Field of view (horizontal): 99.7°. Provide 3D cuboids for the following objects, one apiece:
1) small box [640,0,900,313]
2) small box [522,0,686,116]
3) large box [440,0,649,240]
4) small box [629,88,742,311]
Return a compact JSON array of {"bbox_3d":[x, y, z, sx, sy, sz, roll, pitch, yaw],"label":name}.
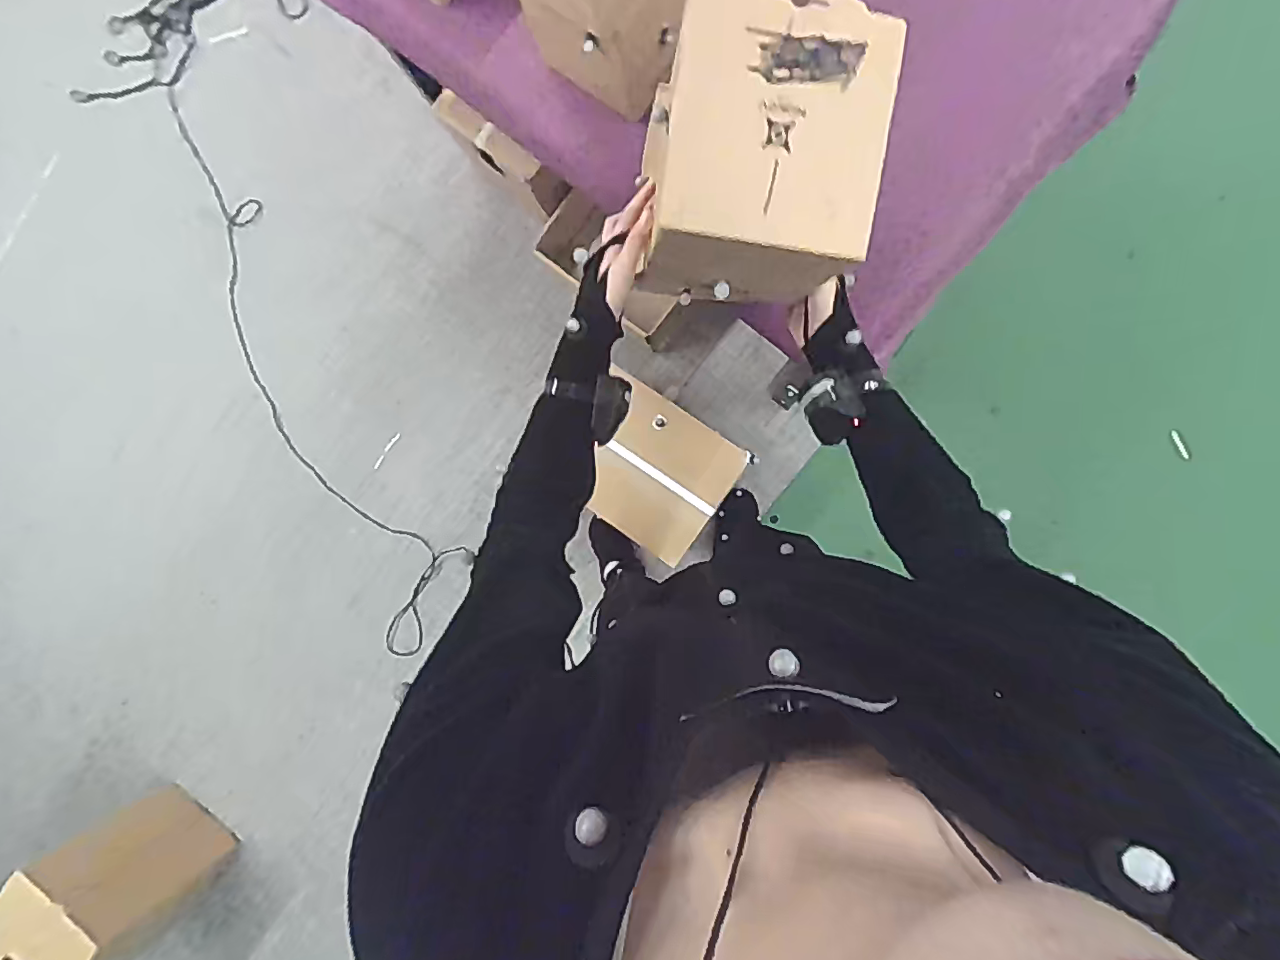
[{"bbox_3d":[0.094,-0.262,0.477,0.168,0.176,0.179,8,97,-4],"label":"small box"},{"bbox_3d":[-0.032,-0.627,0.706,0.179,0.176,0.168,38,94,7],"label":"small box"},{"bbox_3d":[-0.224,-0.930,1.403,0.320,0.320,0.408,38,97,6],"label":"large box"},{"bbox_3d":[0.078,-0.310,0.636,0.168,0.176,0.179,4,97,-5],"label":"small box"}]
